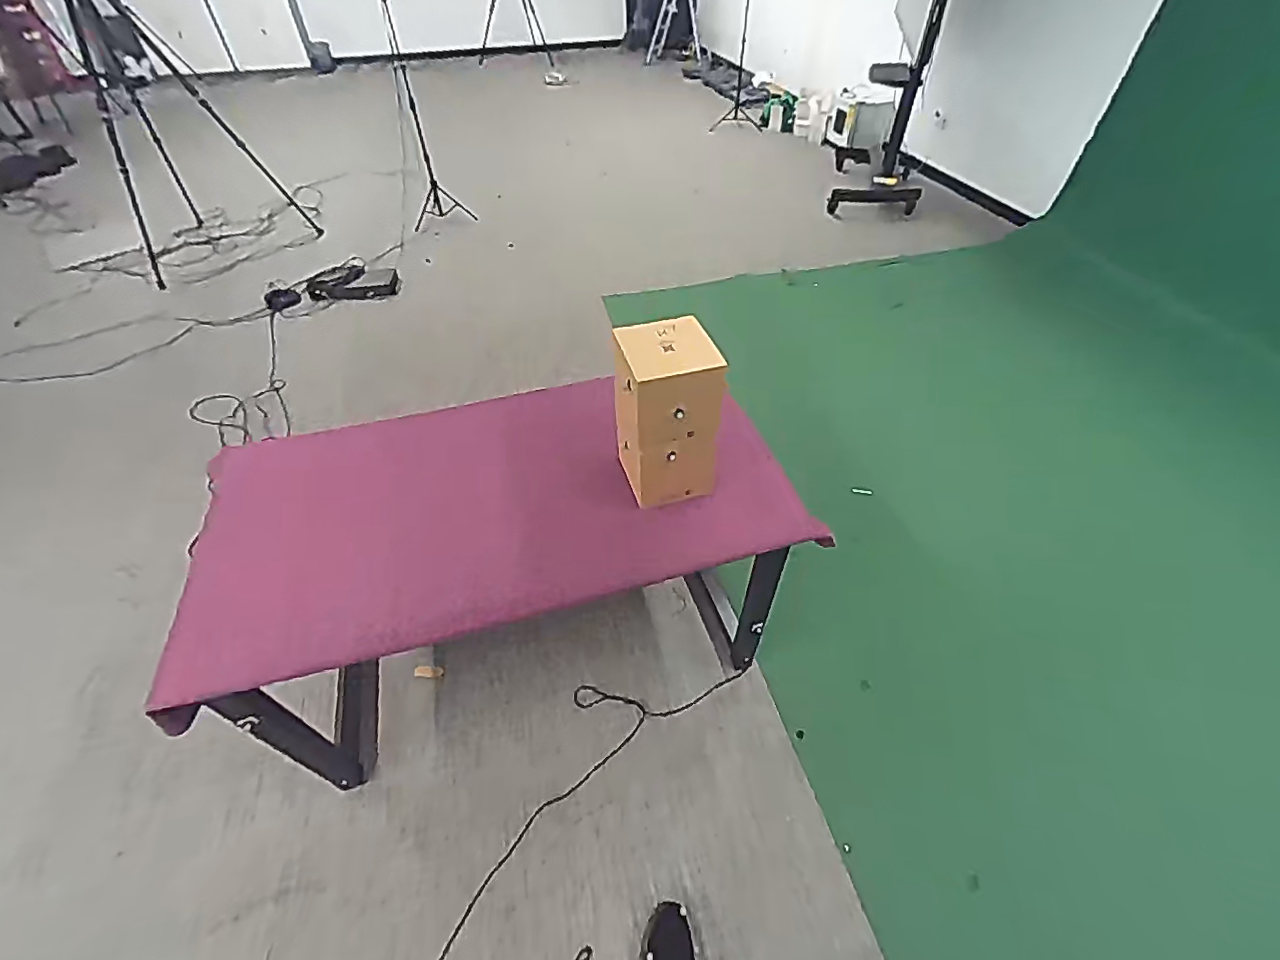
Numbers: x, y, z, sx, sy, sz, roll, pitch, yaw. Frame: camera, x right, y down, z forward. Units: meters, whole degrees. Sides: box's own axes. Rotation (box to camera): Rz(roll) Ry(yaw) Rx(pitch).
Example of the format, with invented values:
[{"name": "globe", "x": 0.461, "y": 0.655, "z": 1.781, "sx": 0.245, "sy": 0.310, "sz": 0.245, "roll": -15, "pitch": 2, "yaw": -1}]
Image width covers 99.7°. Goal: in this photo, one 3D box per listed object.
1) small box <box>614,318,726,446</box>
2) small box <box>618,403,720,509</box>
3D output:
[{"name": "small box", "x": 0.053, "y": -0.181, "z": 1.029, "sx": 0.168, "sy": 0.176, "sz": 0.179, "roll": -12, "pitch": 47, "yaw": -10}, {"name": "small box", "x": 0.056, "y": -0.067, "z": 1.149, "sx": 0.168, "sy": 0.176, "sz": 0.179, "roll": -14, "pitch": 47, "yaw": -10}]
